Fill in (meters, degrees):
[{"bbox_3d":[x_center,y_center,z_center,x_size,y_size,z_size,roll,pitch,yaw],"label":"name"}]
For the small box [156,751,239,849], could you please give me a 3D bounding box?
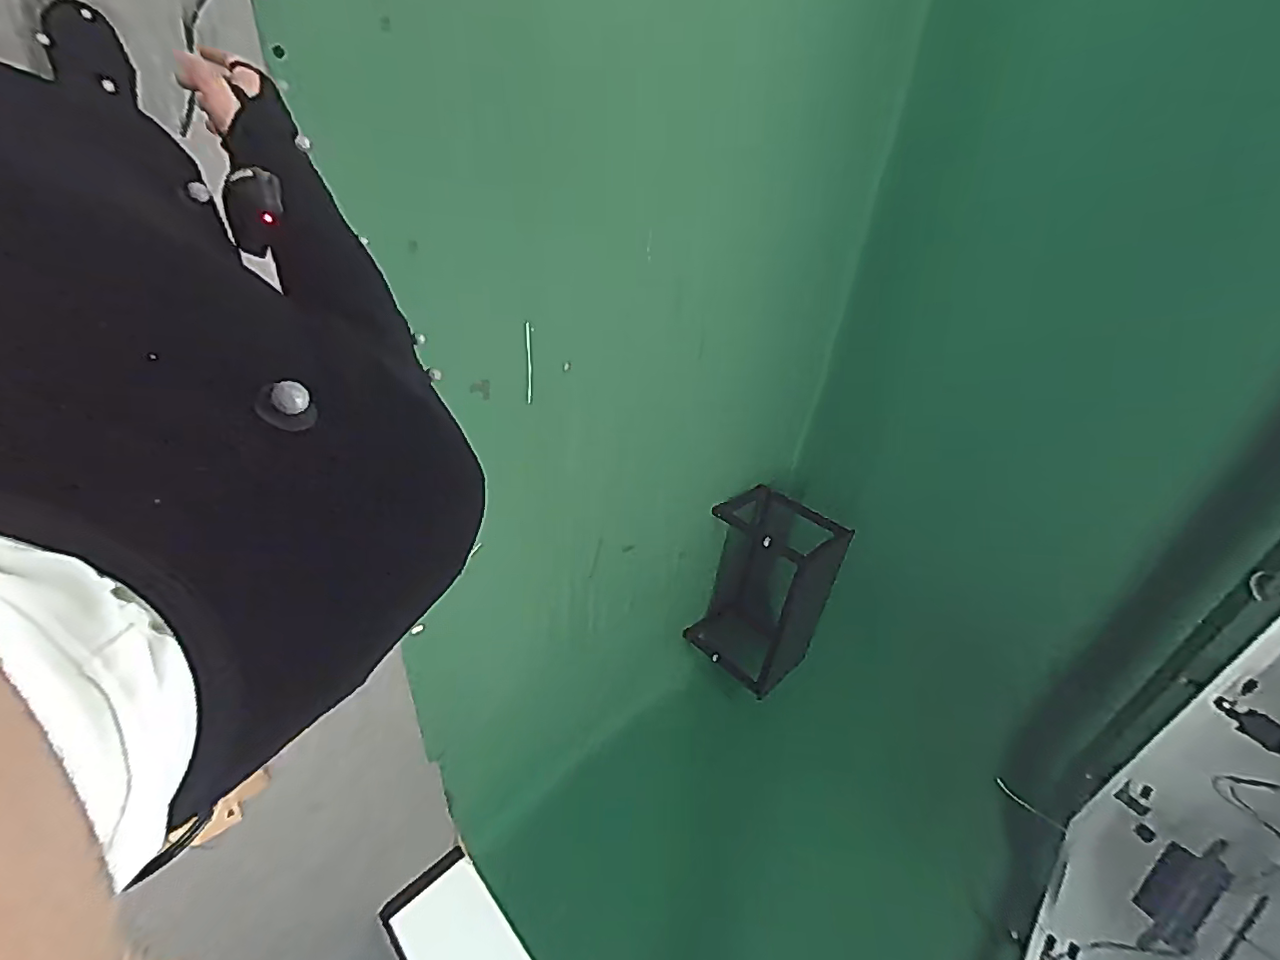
[{"bbox_3d":[-1.434,1.029,1.750,0.179,0.176,0.168,-16,128,-44],"label":"small box"}]
